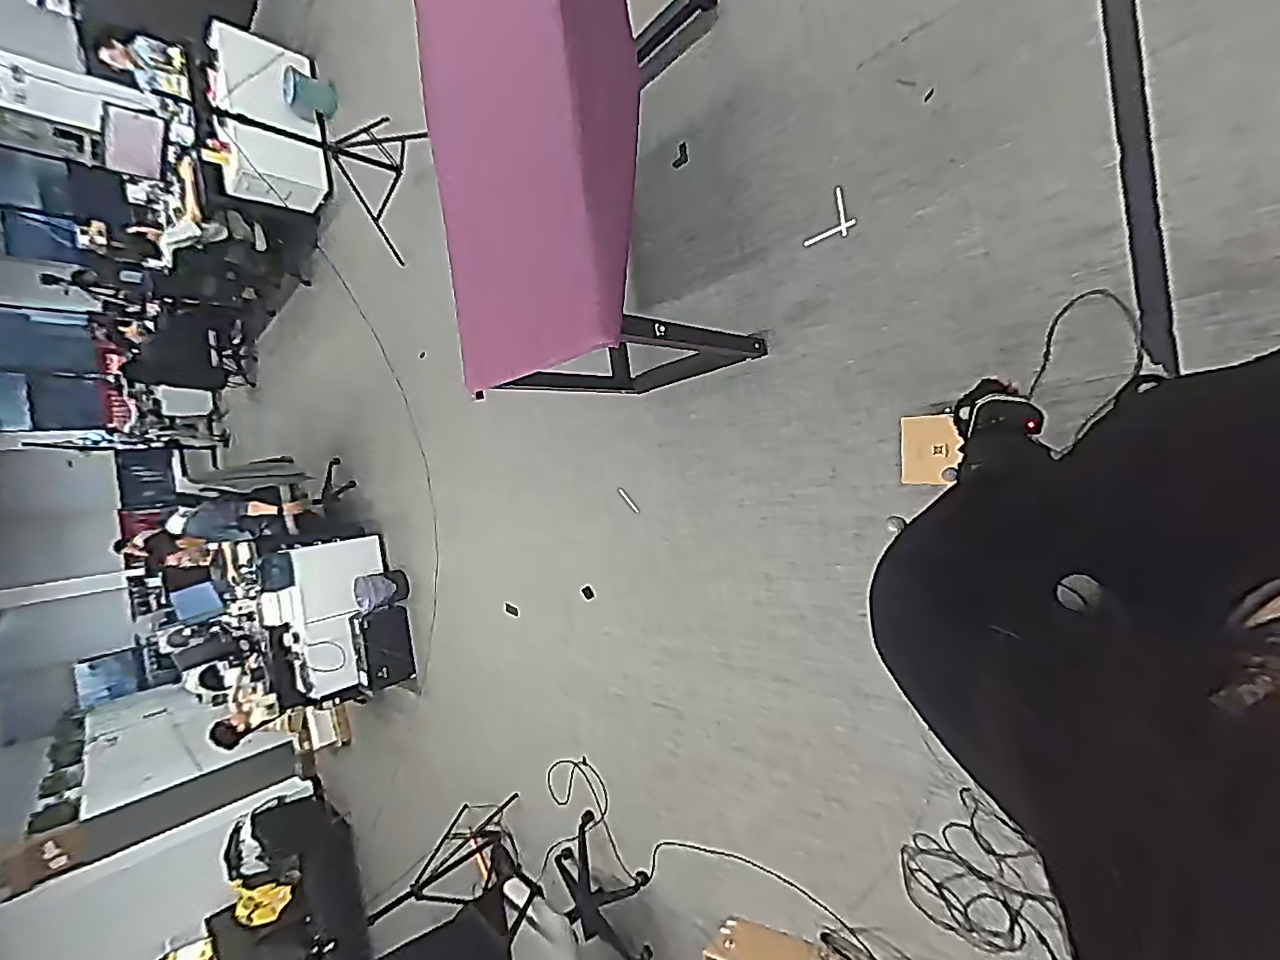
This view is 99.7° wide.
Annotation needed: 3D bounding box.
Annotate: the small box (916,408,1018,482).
[{"bbox_3d":[0.785,-0.083,1.292,0.179,0.176,0.168,0,94,48],"label":"small box"}]
